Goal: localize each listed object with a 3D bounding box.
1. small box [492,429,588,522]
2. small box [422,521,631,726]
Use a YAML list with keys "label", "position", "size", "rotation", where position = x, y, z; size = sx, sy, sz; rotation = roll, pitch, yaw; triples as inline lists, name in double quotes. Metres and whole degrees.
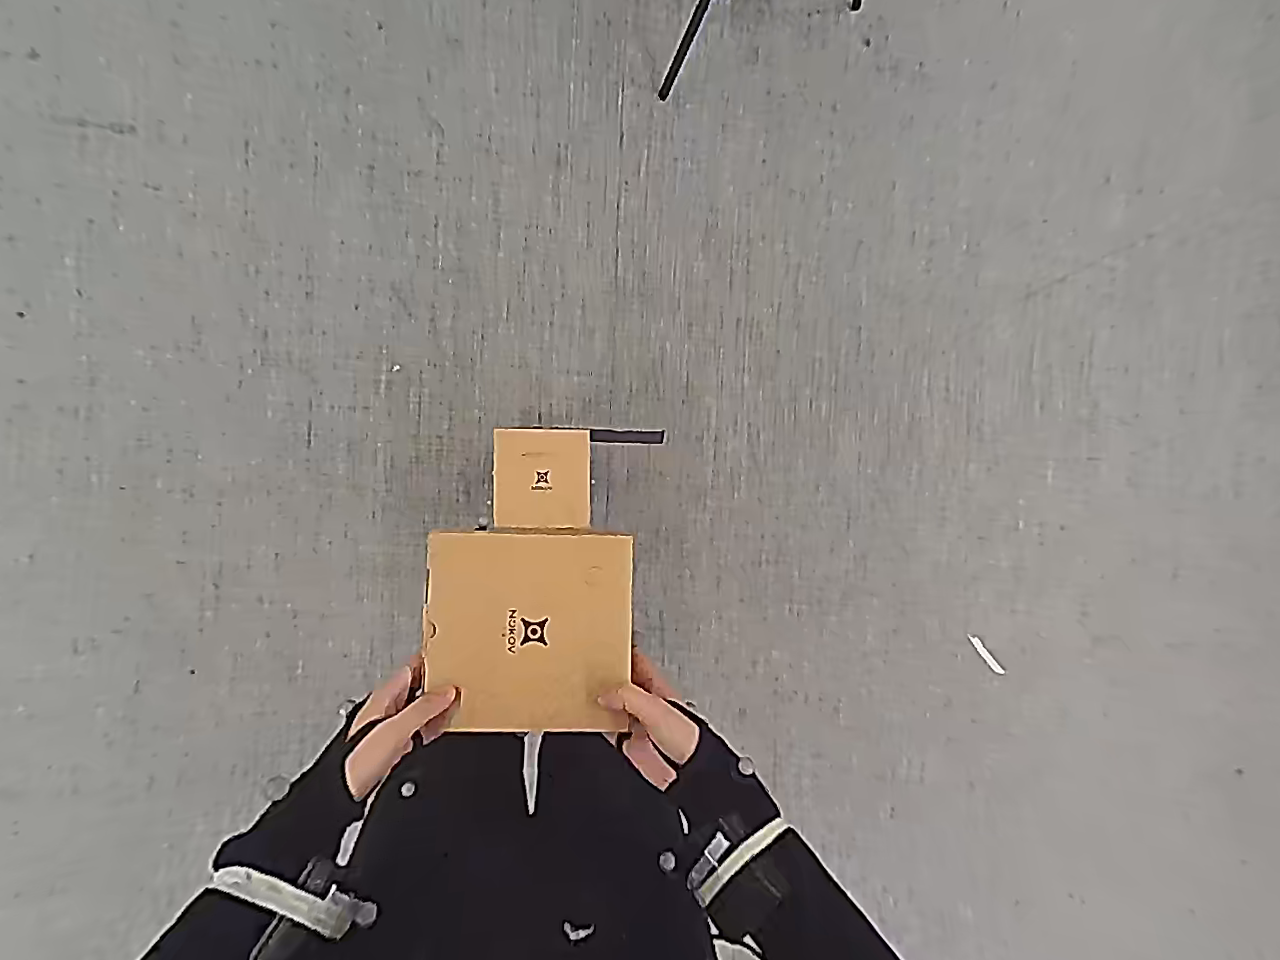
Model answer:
- label: "small box"
  position: [-0.186, -0.001, 1.010]
  size: [0.168, 0.176, 0.179]
  rotation: [-1, 91, -12]
- label: "small box"
  position: [-0.099, 0.127, 0.537]
  size: [0.179, 0.176, 0.168]
  rotation: [0, 88, -2]
